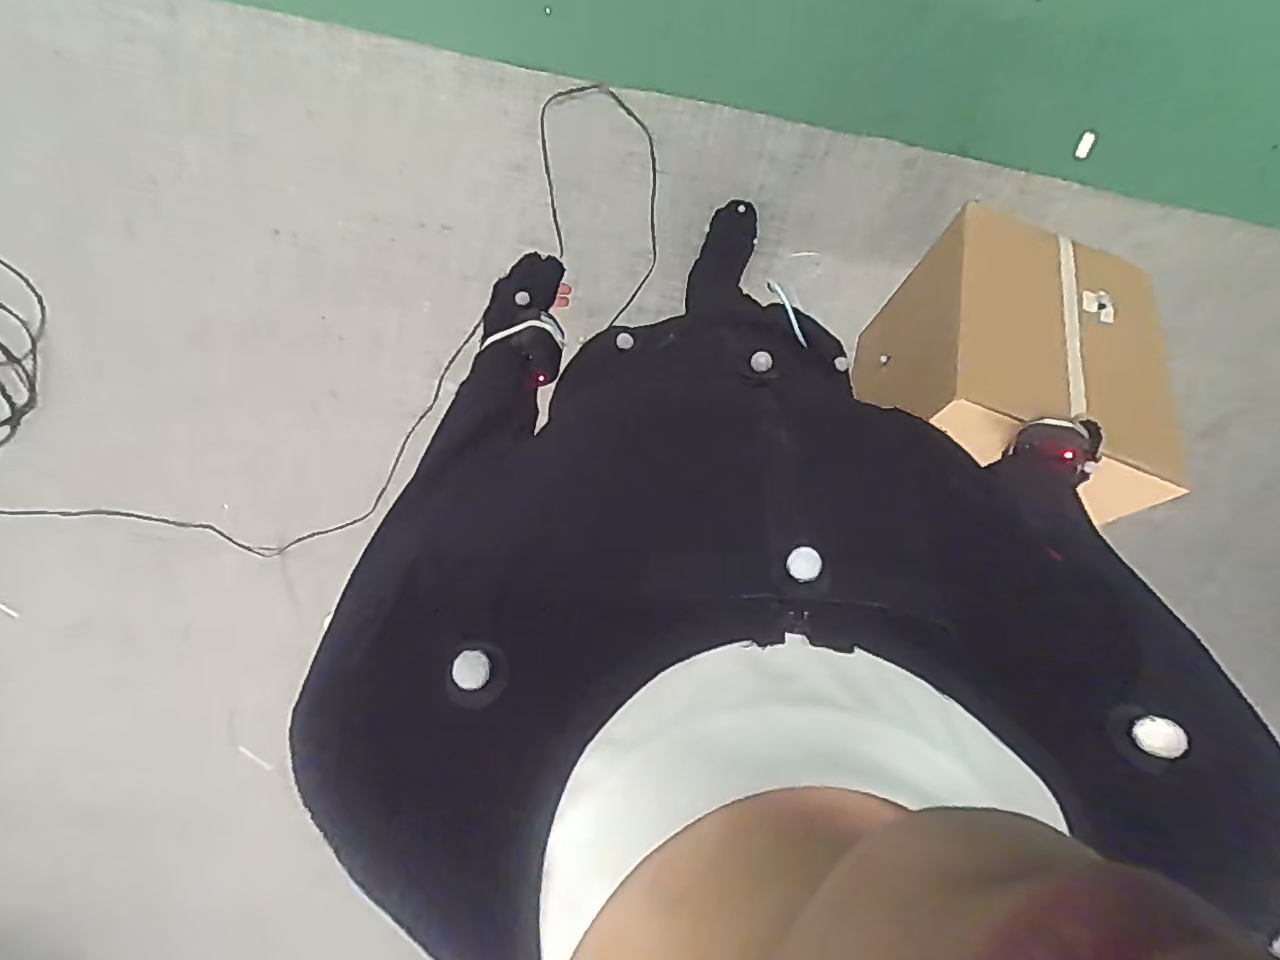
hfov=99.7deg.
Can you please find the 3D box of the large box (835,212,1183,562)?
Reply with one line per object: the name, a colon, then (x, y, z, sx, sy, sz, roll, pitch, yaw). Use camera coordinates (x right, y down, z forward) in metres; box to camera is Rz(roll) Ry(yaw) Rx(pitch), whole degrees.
large box: (0.550, -0.135, 0.878, 0.320, 0.408, 0.320, 22, 151, -2)
